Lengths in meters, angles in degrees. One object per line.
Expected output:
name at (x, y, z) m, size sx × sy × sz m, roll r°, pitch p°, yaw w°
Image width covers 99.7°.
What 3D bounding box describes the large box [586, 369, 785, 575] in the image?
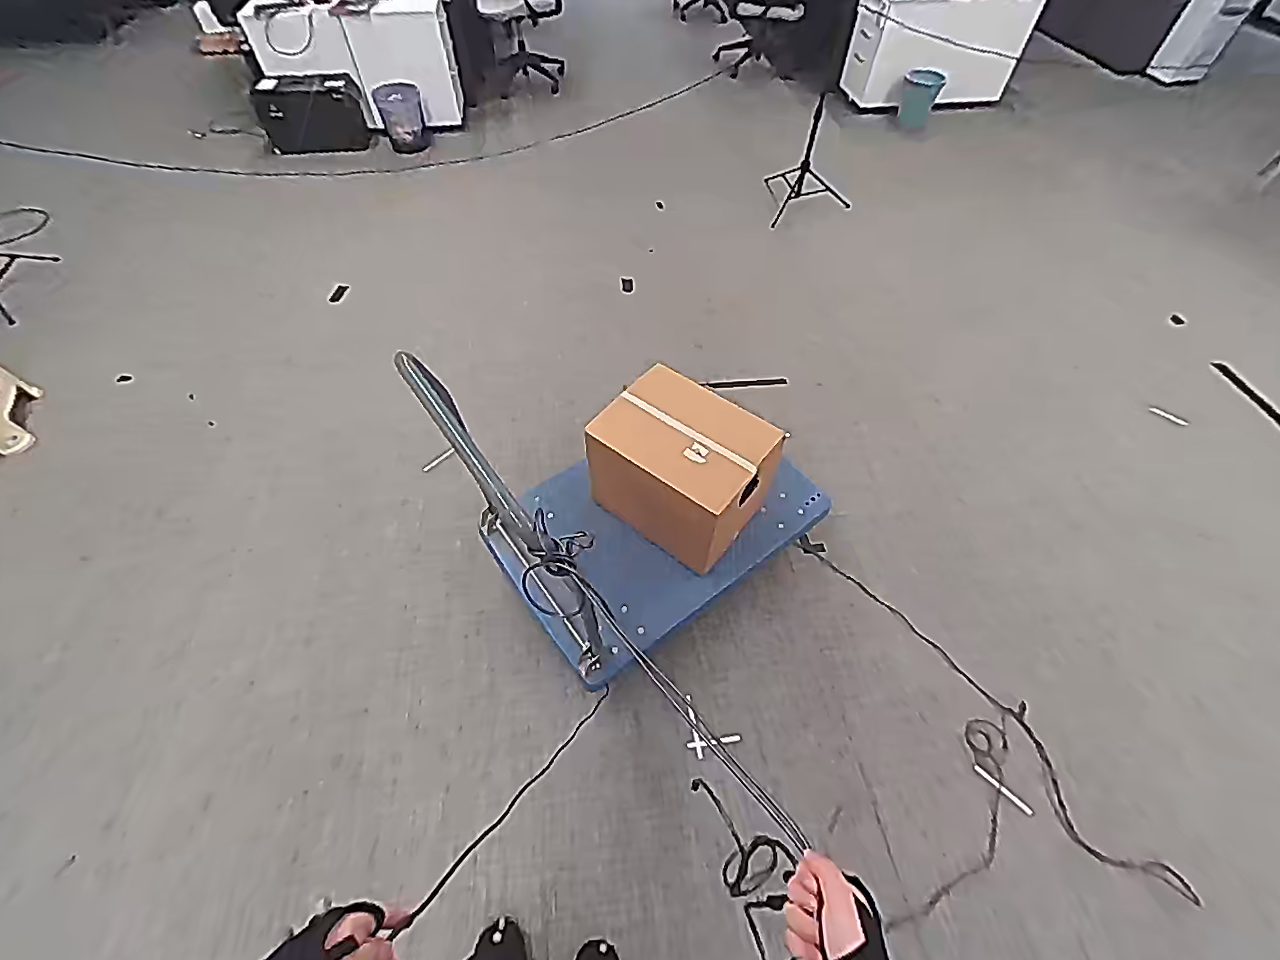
large box at (0.106, -0.023, 1.450) m, size 0.408 × 0.320 × 0.320 m, roll 33°, pitch 61°, yaw 20°
